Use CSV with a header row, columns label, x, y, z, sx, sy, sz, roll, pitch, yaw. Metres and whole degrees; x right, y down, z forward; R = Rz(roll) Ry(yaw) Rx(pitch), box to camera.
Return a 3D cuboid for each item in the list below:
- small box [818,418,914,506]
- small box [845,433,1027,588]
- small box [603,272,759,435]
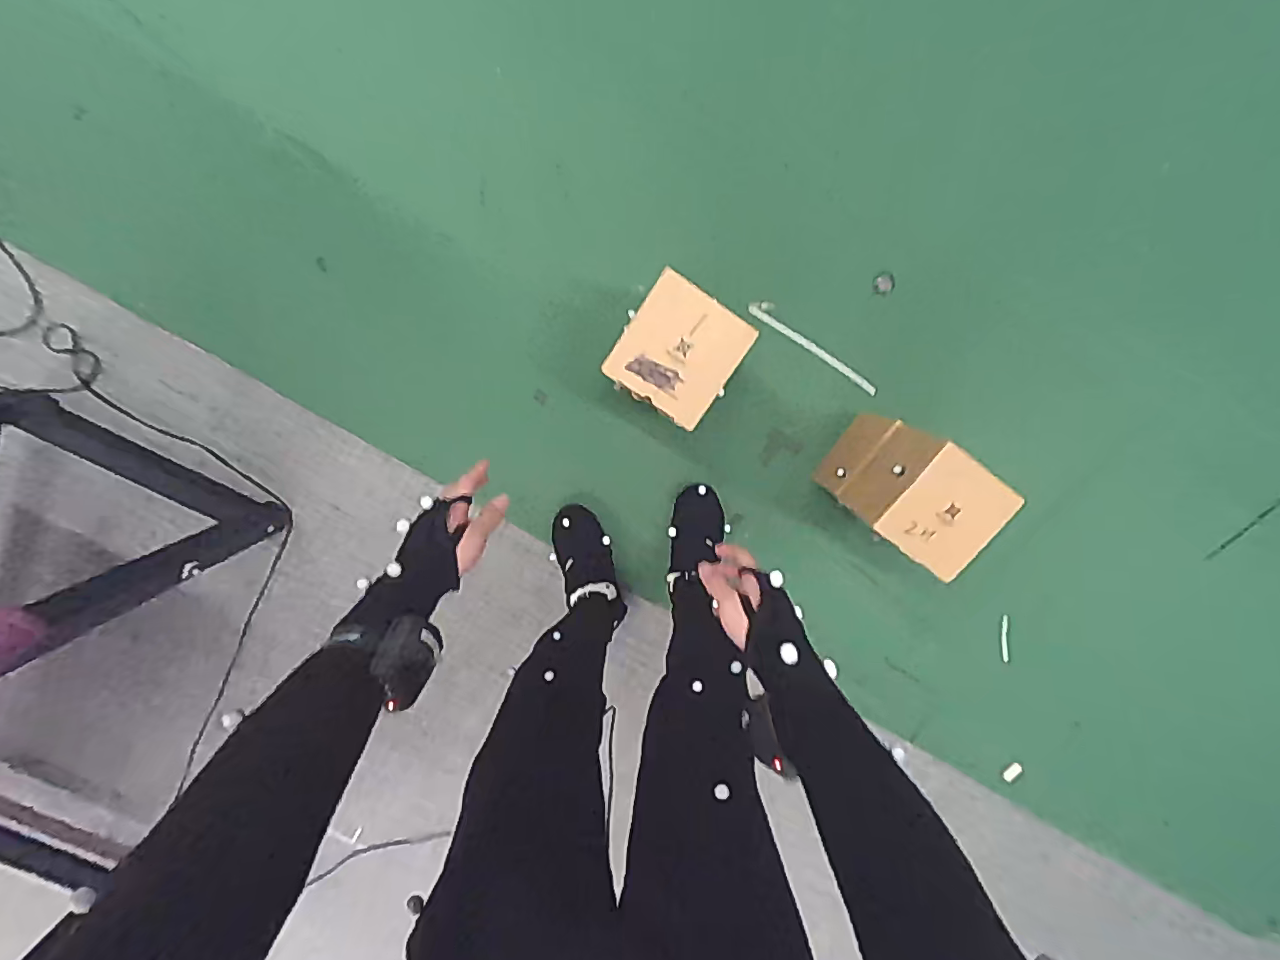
label,x,y,z,sx,sy,sz,roll,pitch,yaw
small box,0.483,-0.005,1.071,0.168,0.176,0.179,34,103,-8
small box,0.482,0.041,0.913,0.168,0.176,0.179,36,102,-8
small box,0.061,-0.196,0.860,0.168,0.176,0.179,34,100,-7
